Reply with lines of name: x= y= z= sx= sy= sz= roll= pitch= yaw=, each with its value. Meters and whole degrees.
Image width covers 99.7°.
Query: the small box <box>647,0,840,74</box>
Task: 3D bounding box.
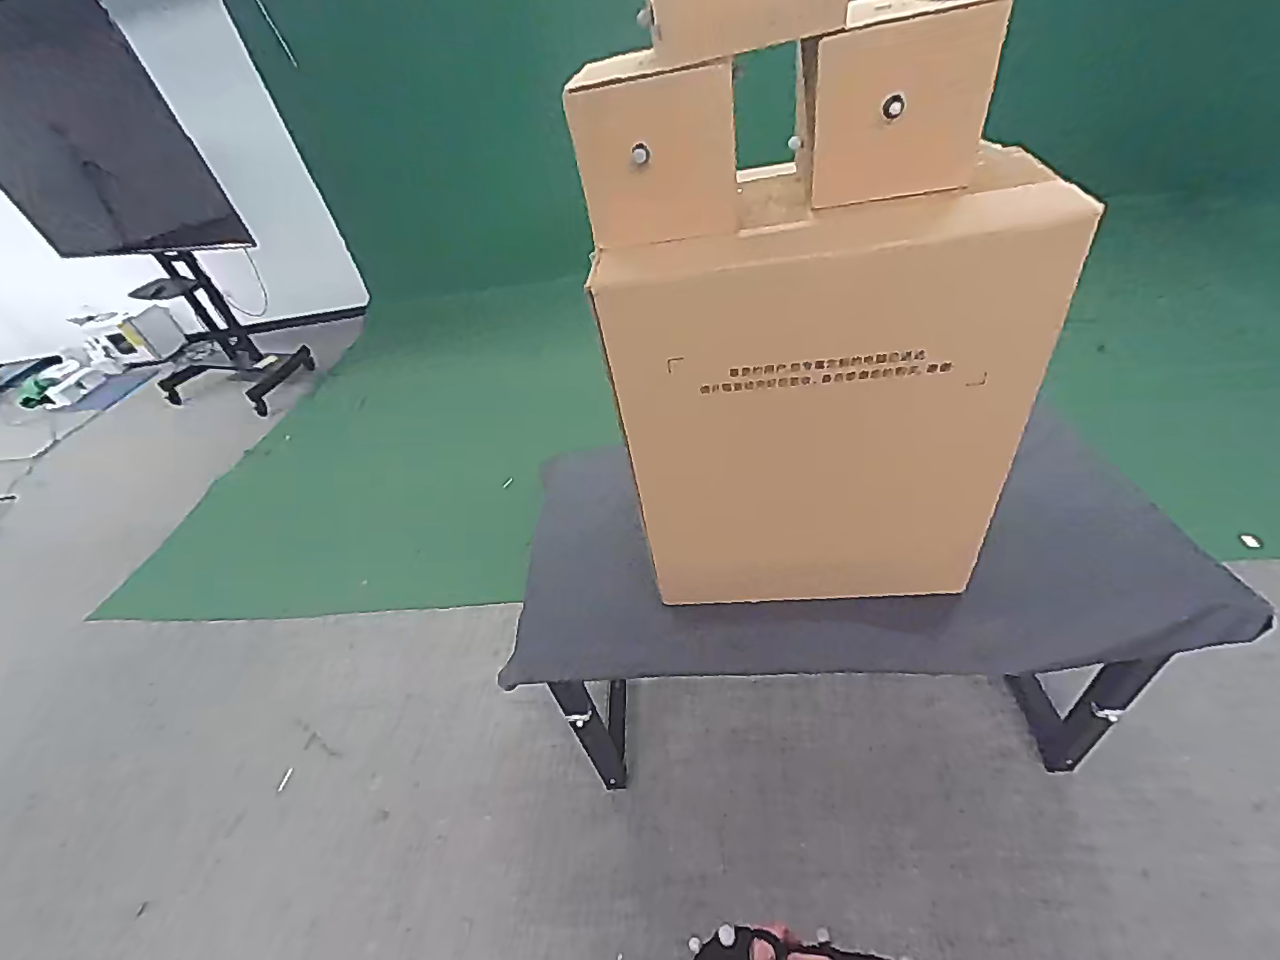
small box: x=0.094 y=-0.525 z=0.530 sx=0.179 sy=0.176 sz=0.168 roll=-12 pitch=43 yaw=4

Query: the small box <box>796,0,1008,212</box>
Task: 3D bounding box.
small box: x=0.279 y=-0.436 z=0.625 sx=0.179 sy=0.176 sz=0.168 roll=-4 pitch=45 yaw=12

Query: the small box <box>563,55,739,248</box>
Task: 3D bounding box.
small box: x=0.025 y=-0.399 z=0.655 sx=0.179 sy=0.176 sz=0.168 roll=-3 pitch=46 yaw=11
